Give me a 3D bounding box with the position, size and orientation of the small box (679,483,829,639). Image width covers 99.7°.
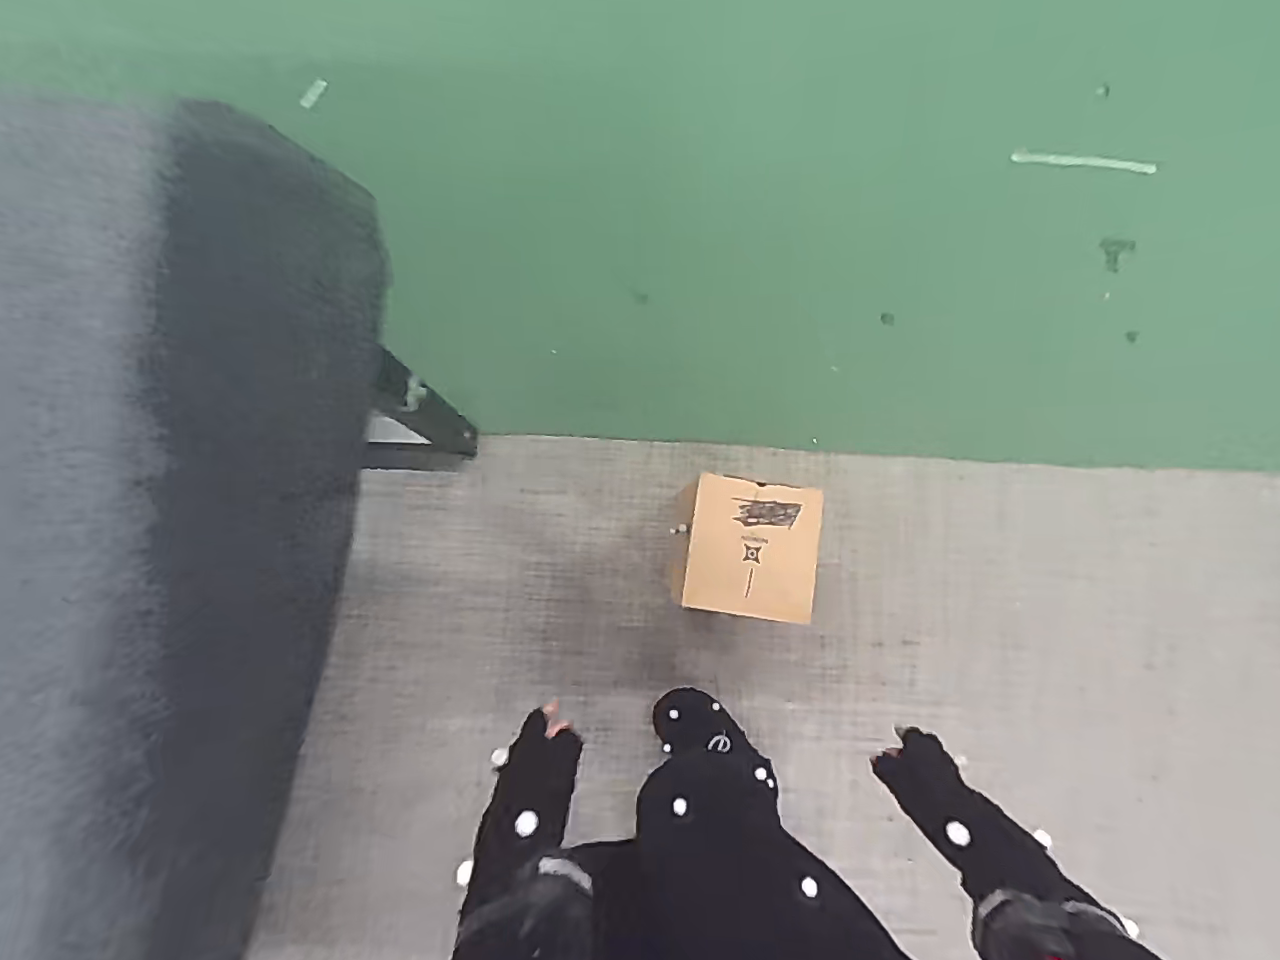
[{"bbox_3d":[0.151,0.114,0.770,0.168,0.176,0.179,10,81,2],"label":"small box"}]

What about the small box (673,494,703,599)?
[{"bbox_3d":[0.153,0.132,0.934,0.168,0.176,0.179,10,82,2],"label":"small box"}]
